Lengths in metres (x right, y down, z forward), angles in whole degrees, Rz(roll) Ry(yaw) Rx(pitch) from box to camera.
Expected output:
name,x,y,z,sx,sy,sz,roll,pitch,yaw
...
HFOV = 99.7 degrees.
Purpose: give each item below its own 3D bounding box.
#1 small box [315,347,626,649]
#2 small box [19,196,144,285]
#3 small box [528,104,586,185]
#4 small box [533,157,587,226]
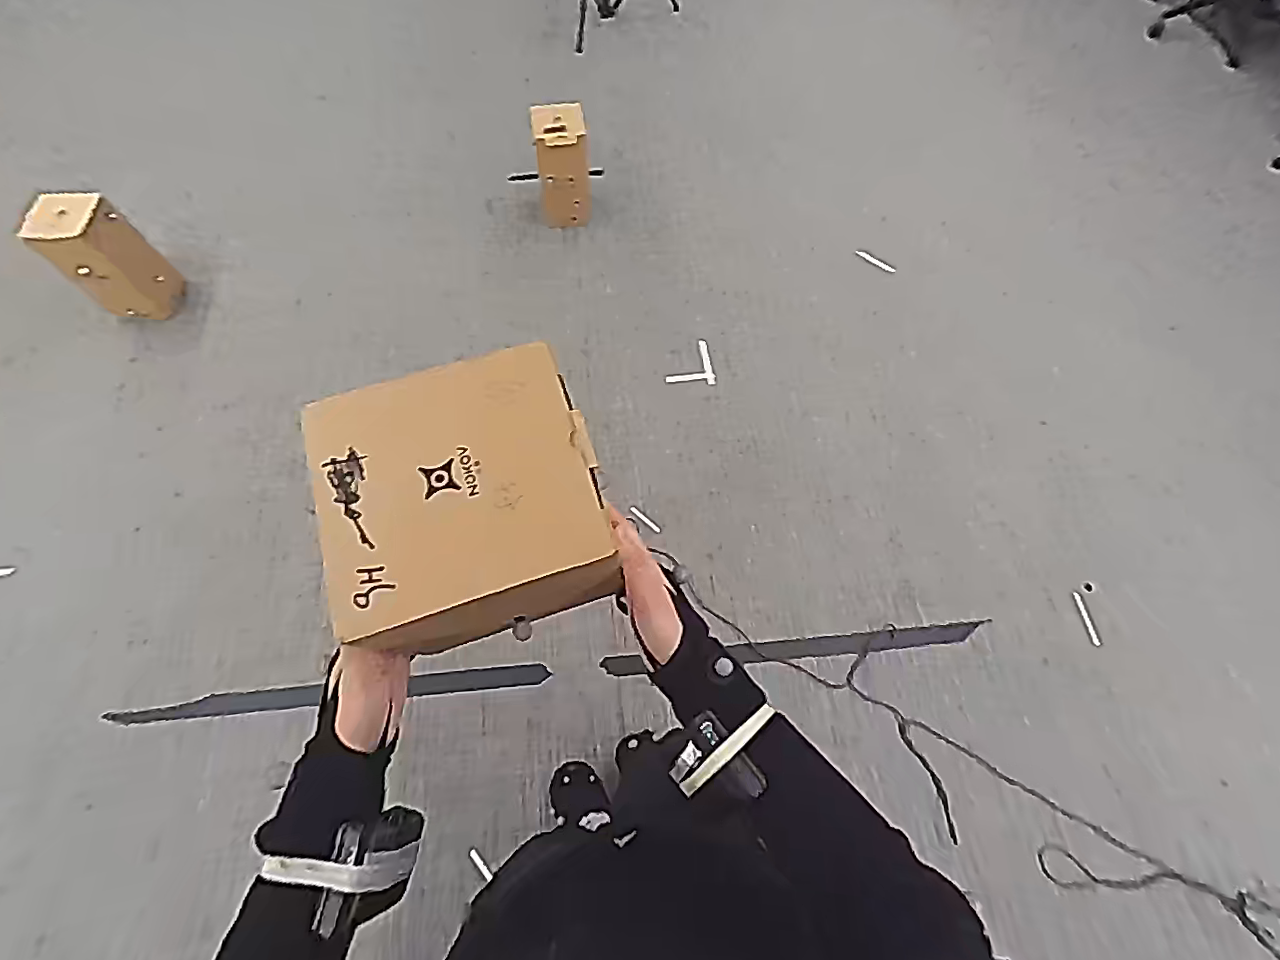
name,x,y,z,sx,sy,sz,roll,pitch,yaw
small box,-0.119,0.025,0.428,0.179,0.176,0.168,-16,71,-9
small box,-1.613,-0.697,1.578,0.168,0.176,0.179,-2,67,-2
small box,-0.276,-1.116,1.814,0.168,0.176,0.179,-8,66,-6
small box,-0.287,-1.048,1.964,0.168,0.176,0.179,-9,65,-7
